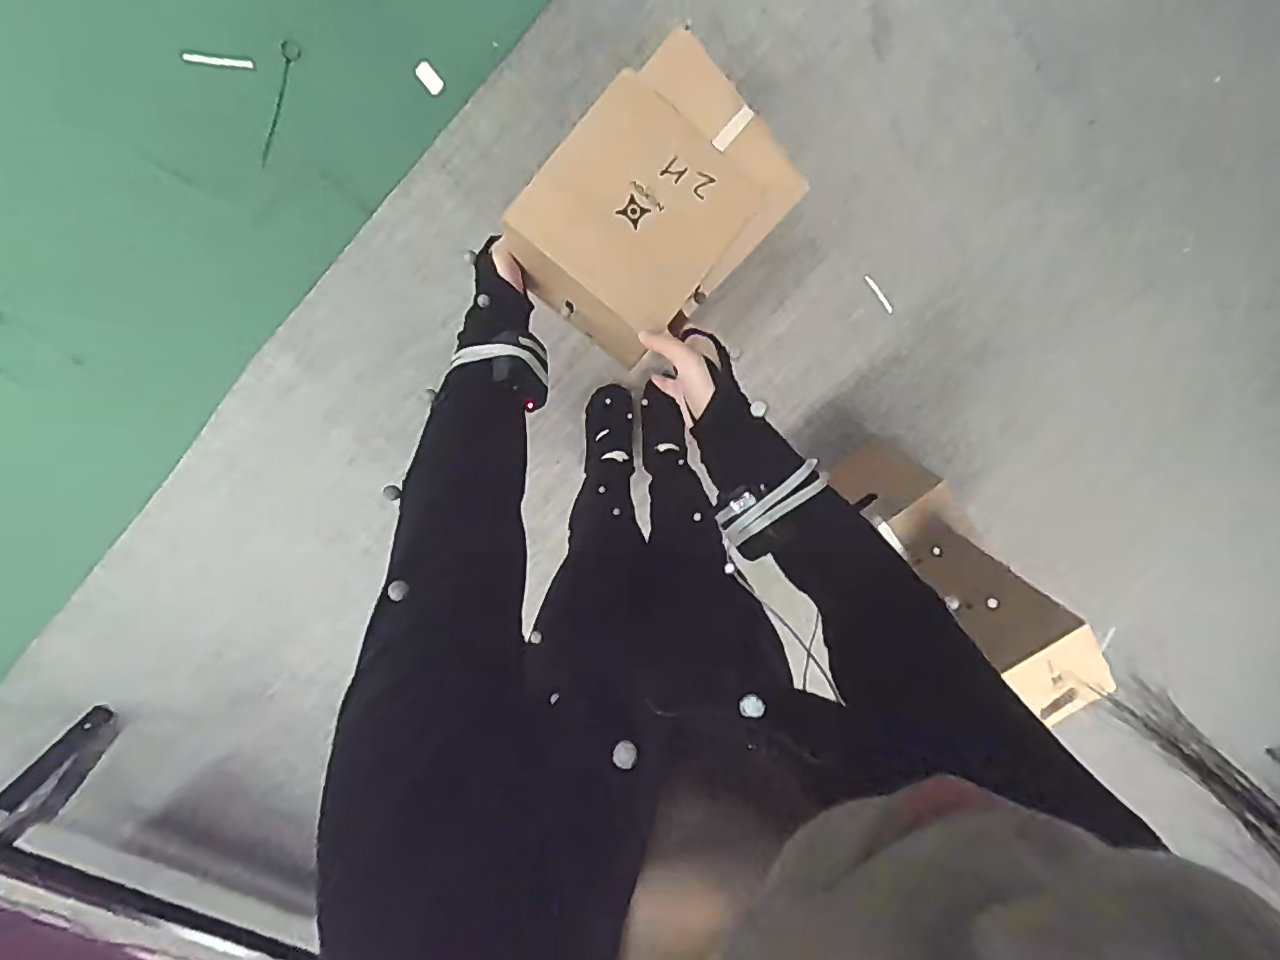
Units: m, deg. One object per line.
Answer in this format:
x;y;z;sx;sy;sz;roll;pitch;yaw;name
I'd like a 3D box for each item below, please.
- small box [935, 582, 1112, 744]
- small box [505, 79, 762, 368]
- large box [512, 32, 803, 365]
0.672;0.317;0.963;0.168;0.176;0.179;-35;110;6;small box
-0.012;-0.238;0.557;0.168;0.176;0.179;39;86;-8;small box
0.016;-0.486;1.024;0.320;0.320;0.408;42;102;-18;large box
